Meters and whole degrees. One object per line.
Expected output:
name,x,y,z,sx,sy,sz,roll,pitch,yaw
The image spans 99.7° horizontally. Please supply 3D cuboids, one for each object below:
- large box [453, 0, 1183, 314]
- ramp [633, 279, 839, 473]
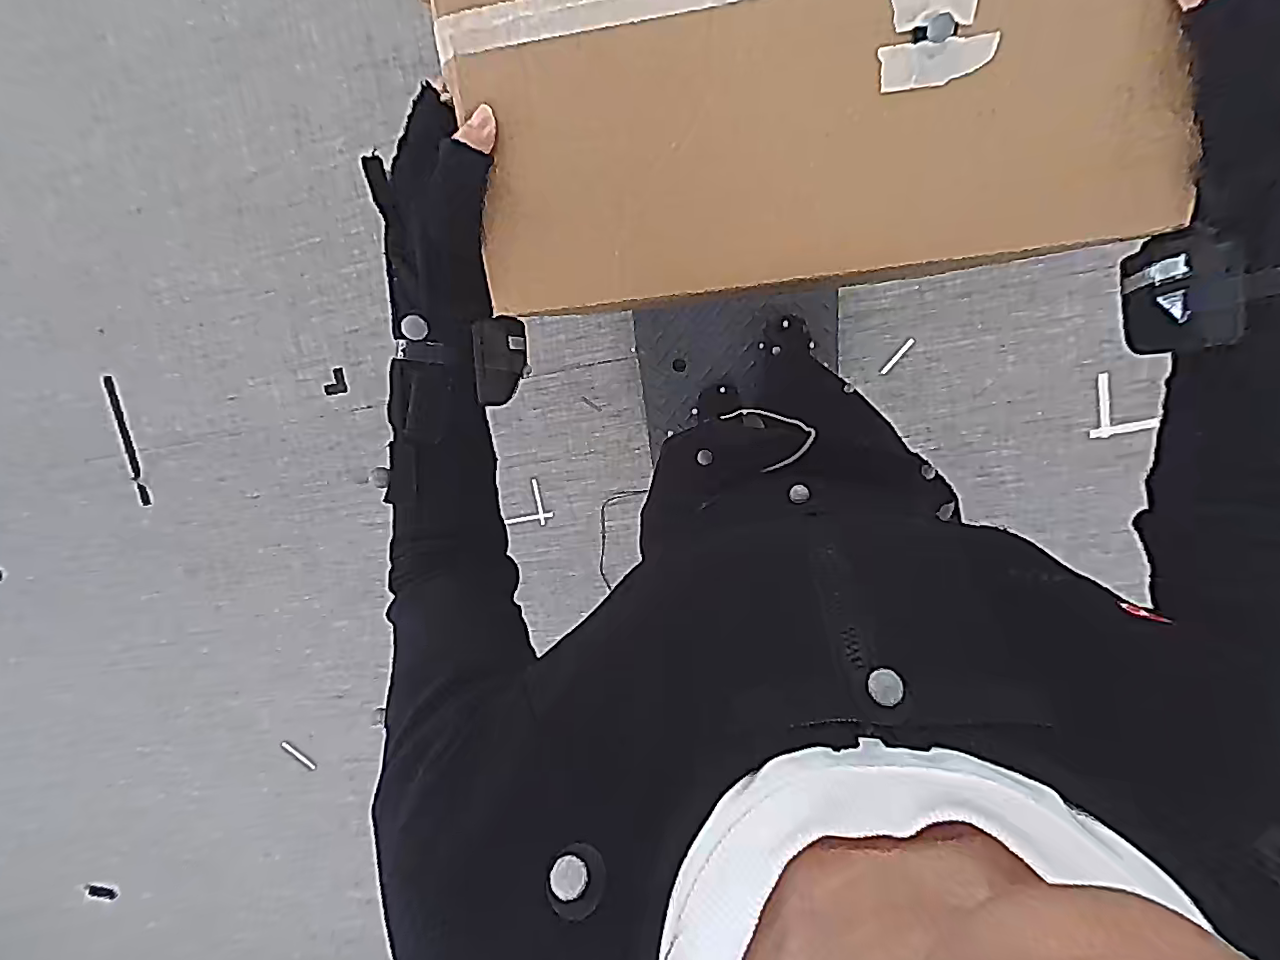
large box,0.100,-0.324,0.443,0.408,0.320,0.320,-5,107,8
ramp,0.214,-0.503,1.275,0.509,0.206,0.991,-8,101,8
